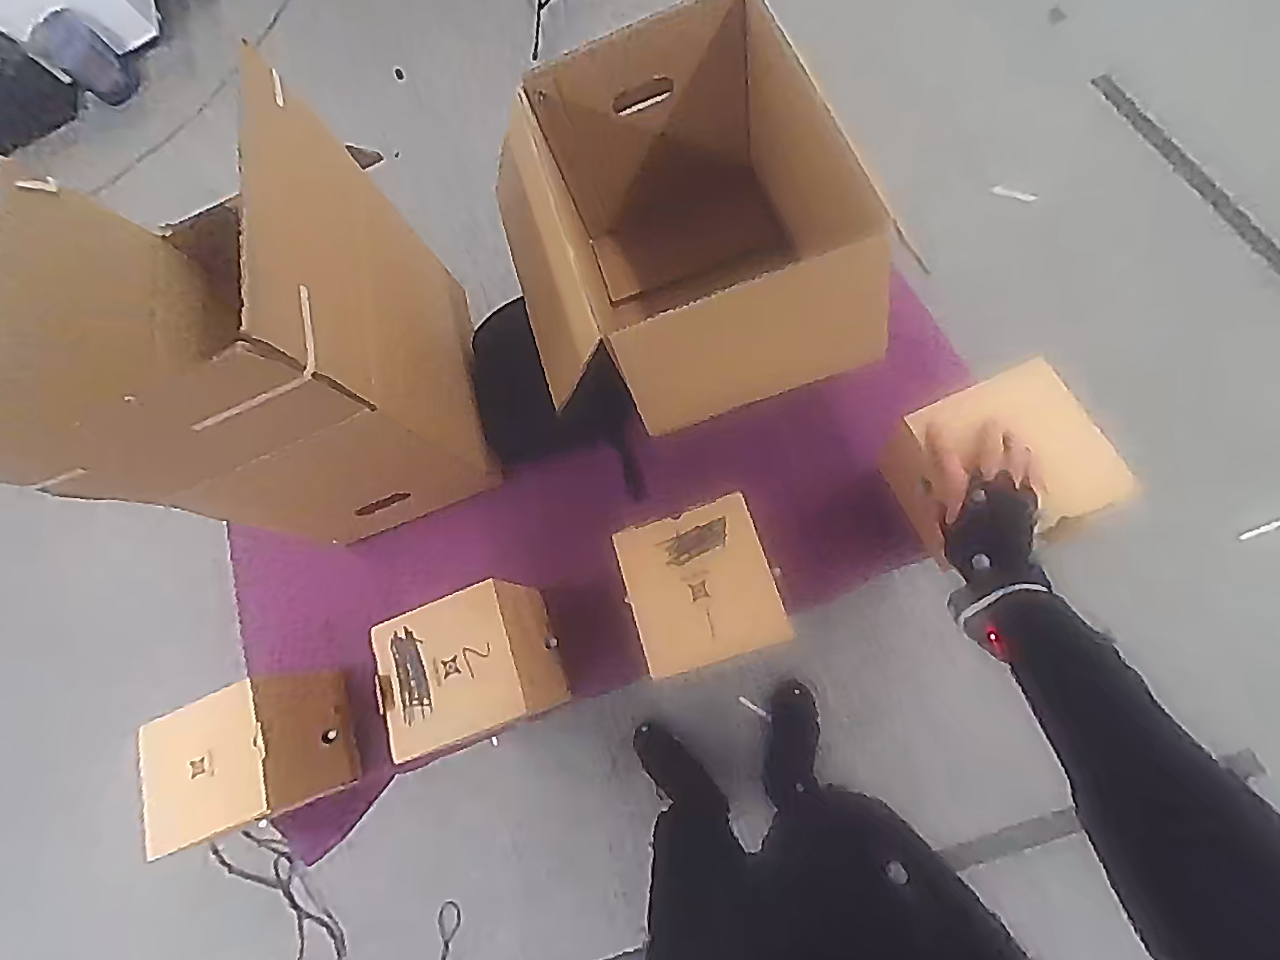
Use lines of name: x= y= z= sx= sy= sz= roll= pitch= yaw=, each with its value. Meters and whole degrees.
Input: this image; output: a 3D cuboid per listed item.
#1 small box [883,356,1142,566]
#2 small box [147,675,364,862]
small box: x=0.424 y=-0.011 z=0.658 sx=0.168 sy=0.176 sz=0.179 roll=-25 pitch=70 yaw=6
small box: x=-0.529 y=0.387 z=0.756 sx=0.179 sy=0.176 sz=0.168 roll=-25 pitch=71 yaw=3
